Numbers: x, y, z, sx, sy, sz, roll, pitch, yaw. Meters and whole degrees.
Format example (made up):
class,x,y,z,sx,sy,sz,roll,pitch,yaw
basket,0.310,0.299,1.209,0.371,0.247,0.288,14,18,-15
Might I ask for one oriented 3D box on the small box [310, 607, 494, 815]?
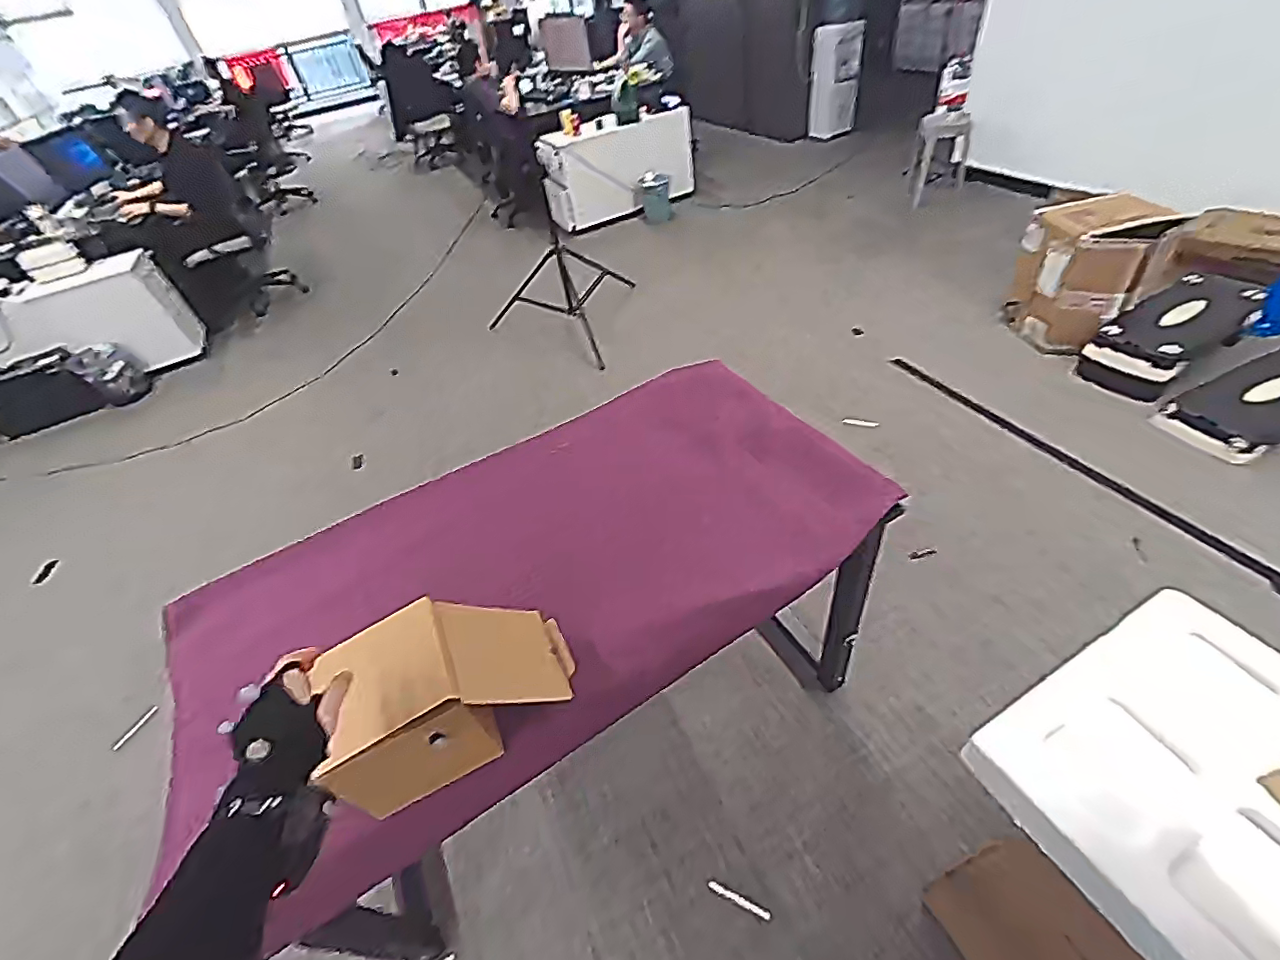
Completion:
class,x,y,z,sx,sy,sz,roll,pitch,yaw
small box,-0.314,0.313,0.734,0.179,0.176,0.168,-25,45,-13
